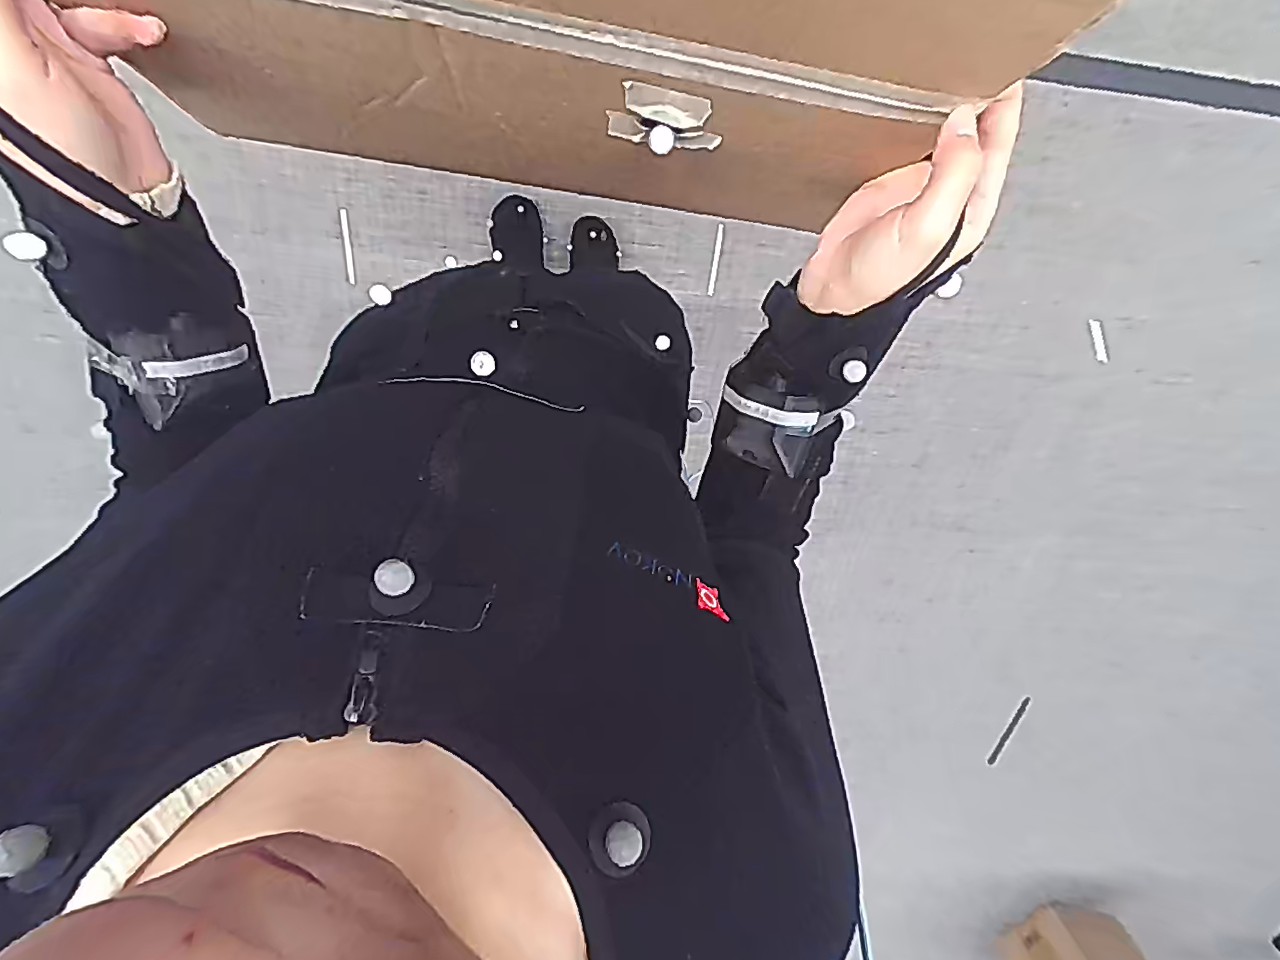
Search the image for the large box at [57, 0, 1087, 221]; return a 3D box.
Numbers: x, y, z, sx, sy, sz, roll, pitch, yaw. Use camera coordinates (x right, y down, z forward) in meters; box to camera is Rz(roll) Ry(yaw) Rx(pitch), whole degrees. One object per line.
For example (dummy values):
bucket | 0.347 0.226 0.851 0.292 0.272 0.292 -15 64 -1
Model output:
large box | -0.036 -0.339 0.207 0.408 0.320 0.320 5 96 -7
